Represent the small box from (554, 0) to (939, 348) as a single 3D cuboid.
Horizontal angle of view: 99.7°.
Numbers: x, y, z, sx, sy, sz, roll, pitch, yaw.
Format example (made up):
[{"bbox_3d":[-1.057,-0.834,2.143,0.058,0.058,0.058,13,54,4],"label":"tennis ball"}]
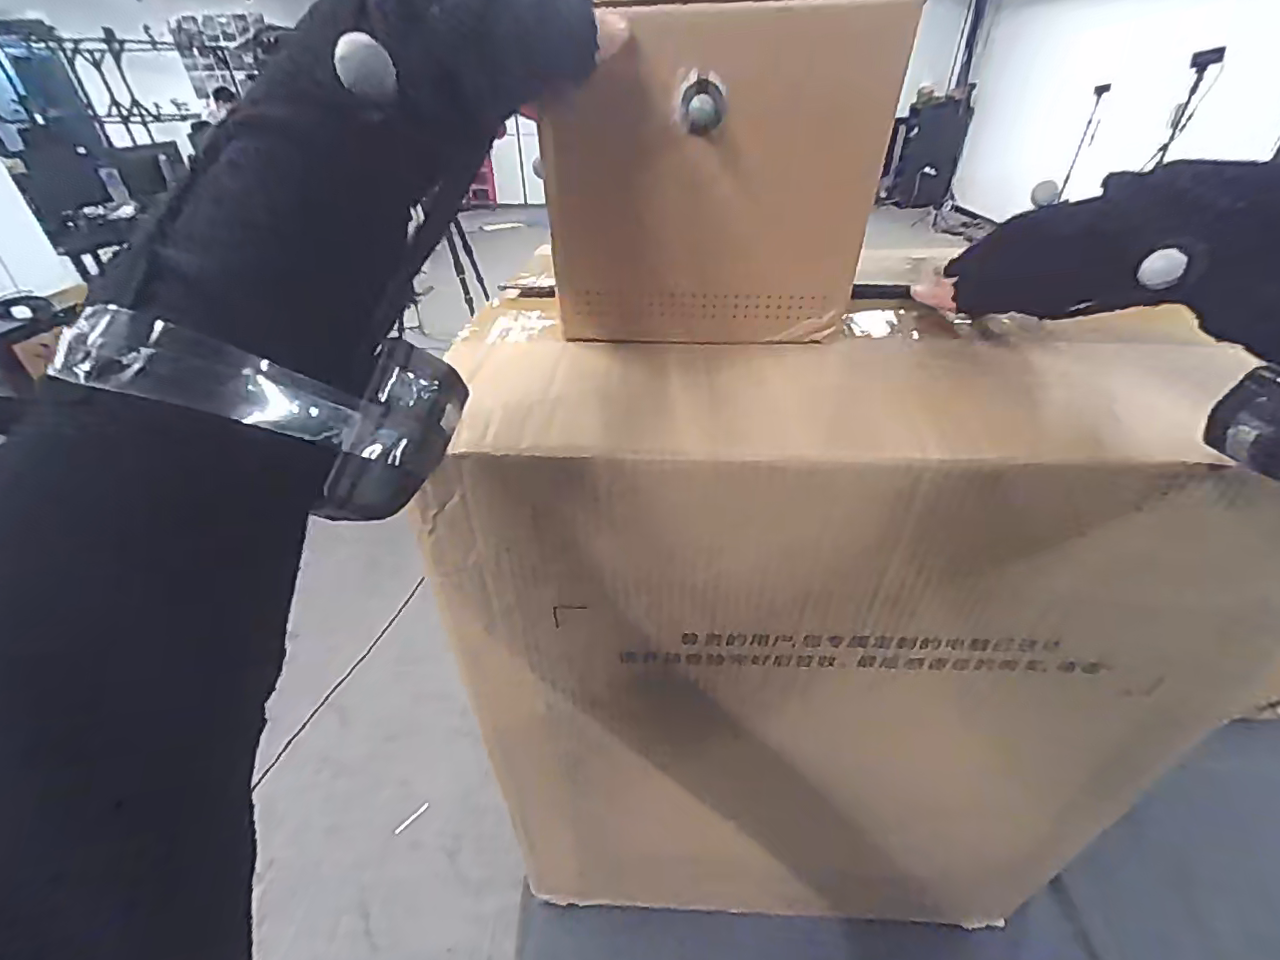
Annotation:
[{"bbox_3d":[0.054,-0.199,0.352,0.179,0.176,0.168,4,43,3],"label":"small box"}]
